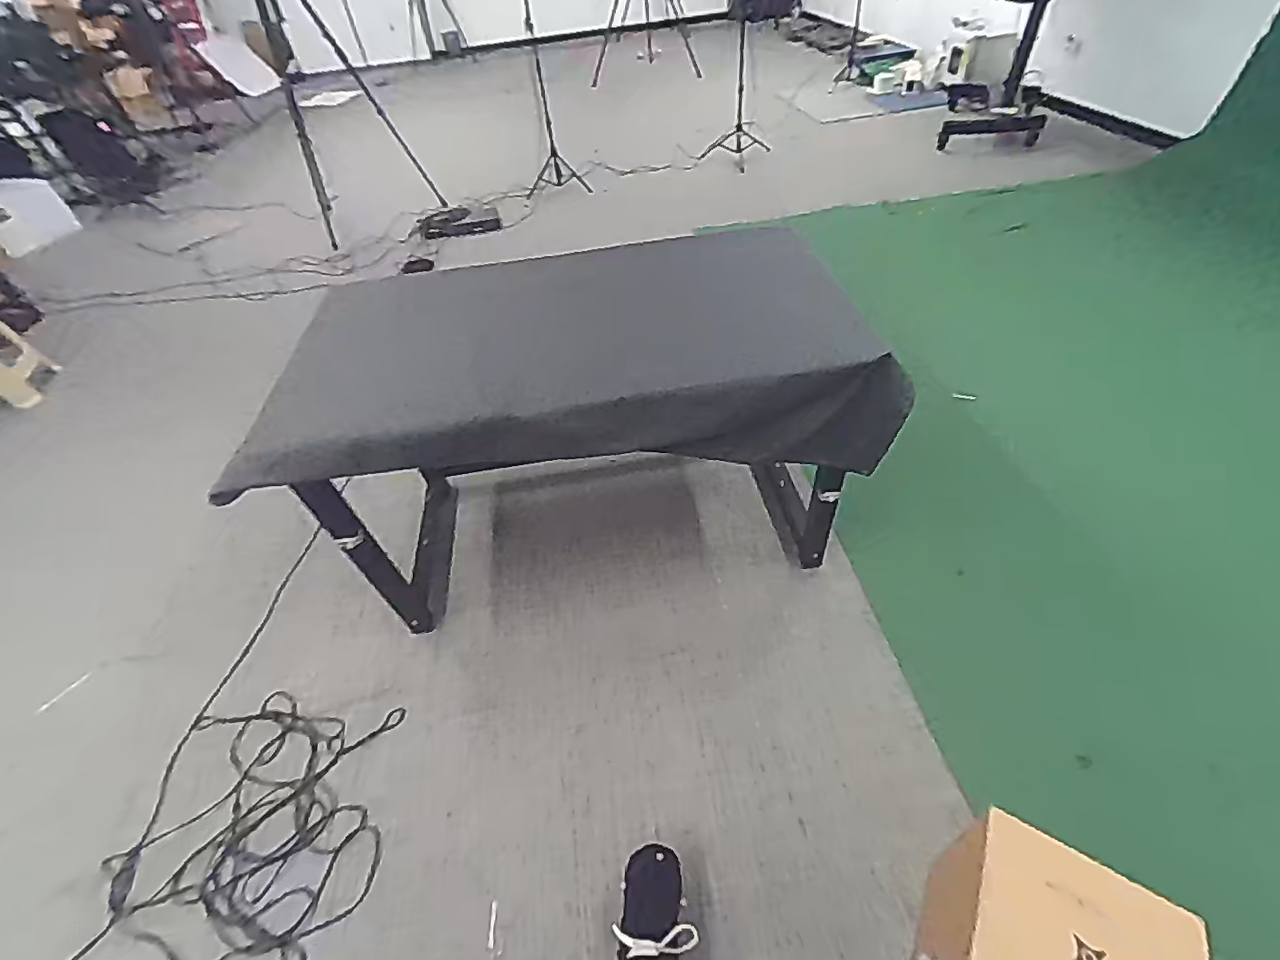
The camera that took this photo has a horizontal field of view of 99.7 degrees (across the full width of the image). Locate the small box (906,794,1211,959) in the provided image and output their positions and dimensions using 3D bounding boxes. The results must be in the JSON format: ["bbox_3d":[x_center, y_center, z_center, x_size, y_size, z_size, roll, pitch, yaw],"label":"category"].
[{"bbox_3d":[0.353,0.436,0.478,0.168,0.176,0.179,24,43,23],"label":"small box"}]
